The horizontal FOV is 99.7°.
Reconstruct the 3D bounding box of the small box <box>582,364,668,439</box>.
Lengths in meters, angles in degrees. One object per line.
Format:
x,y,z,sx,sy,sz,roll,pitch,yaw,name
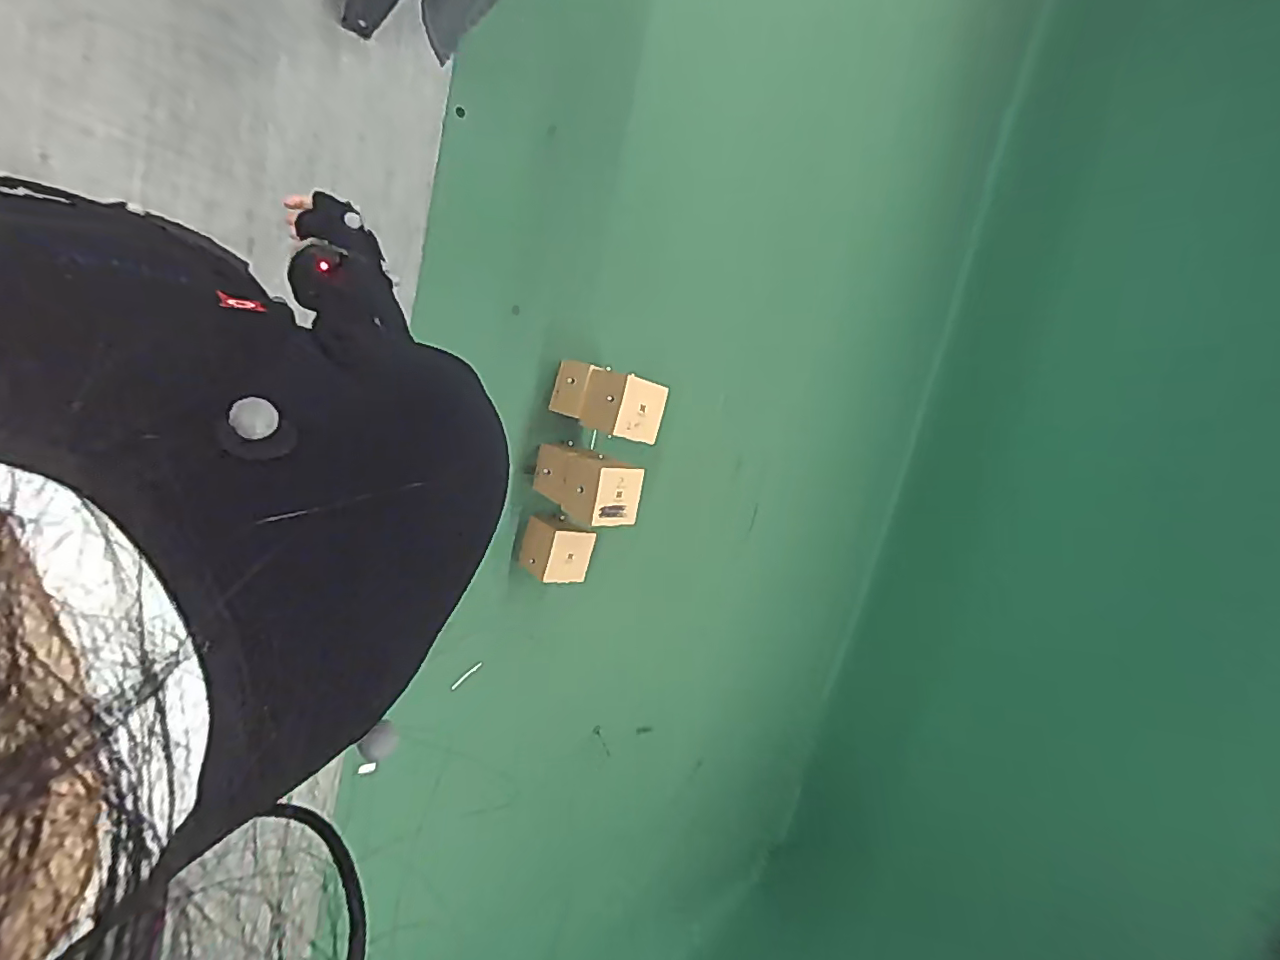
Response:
-0.048,-0.236,1.597,0.168,0.176,0.179,10,98,-43,small box

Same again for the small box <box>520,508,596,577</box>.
-0.276,0.208,1.790,0.168,0.176,0.179,10,99,-43,small box

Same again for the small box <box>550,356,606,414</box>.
-0.159,-0.289,1.708,0.179,0.176,0.168,11,98,-44,small box
